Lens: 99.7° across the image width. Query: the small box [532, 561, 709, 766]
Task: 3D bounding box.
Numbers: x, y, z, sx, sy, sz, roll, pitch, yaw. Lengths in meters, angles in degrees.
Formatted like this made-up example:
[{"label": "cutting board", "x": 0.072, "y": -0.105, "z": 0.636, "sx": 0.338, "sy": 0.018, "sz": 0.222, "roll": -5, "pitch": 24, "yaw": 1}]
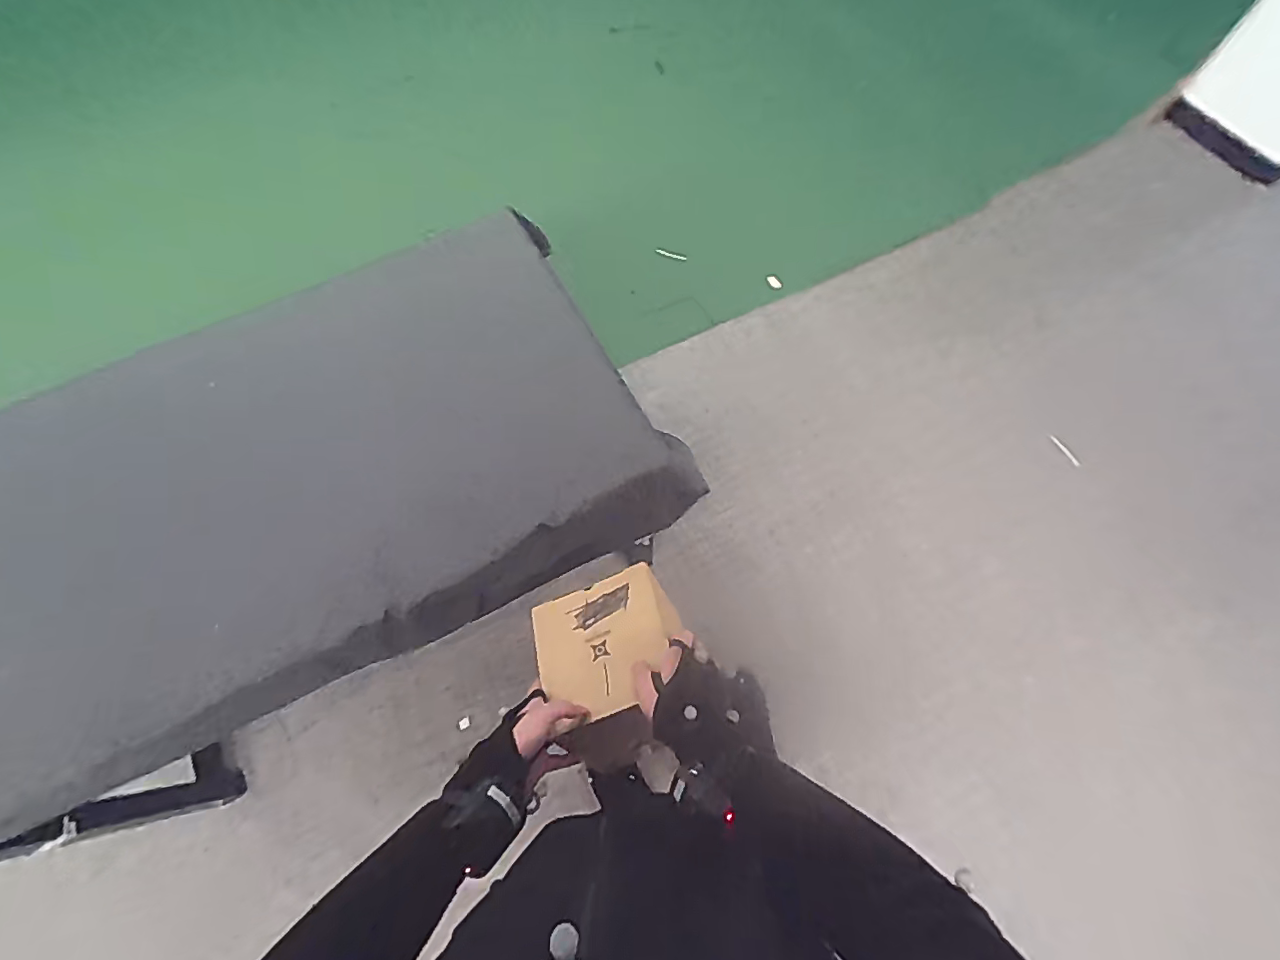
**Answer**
[{"label": "small box", "x": -0.025, "y": 0.241, "z": 0.705, "sx": 0.168, "sy": 0.176, "sz": 0.179, "roll": -23, "pitch": 46, "yaw": 6}]
